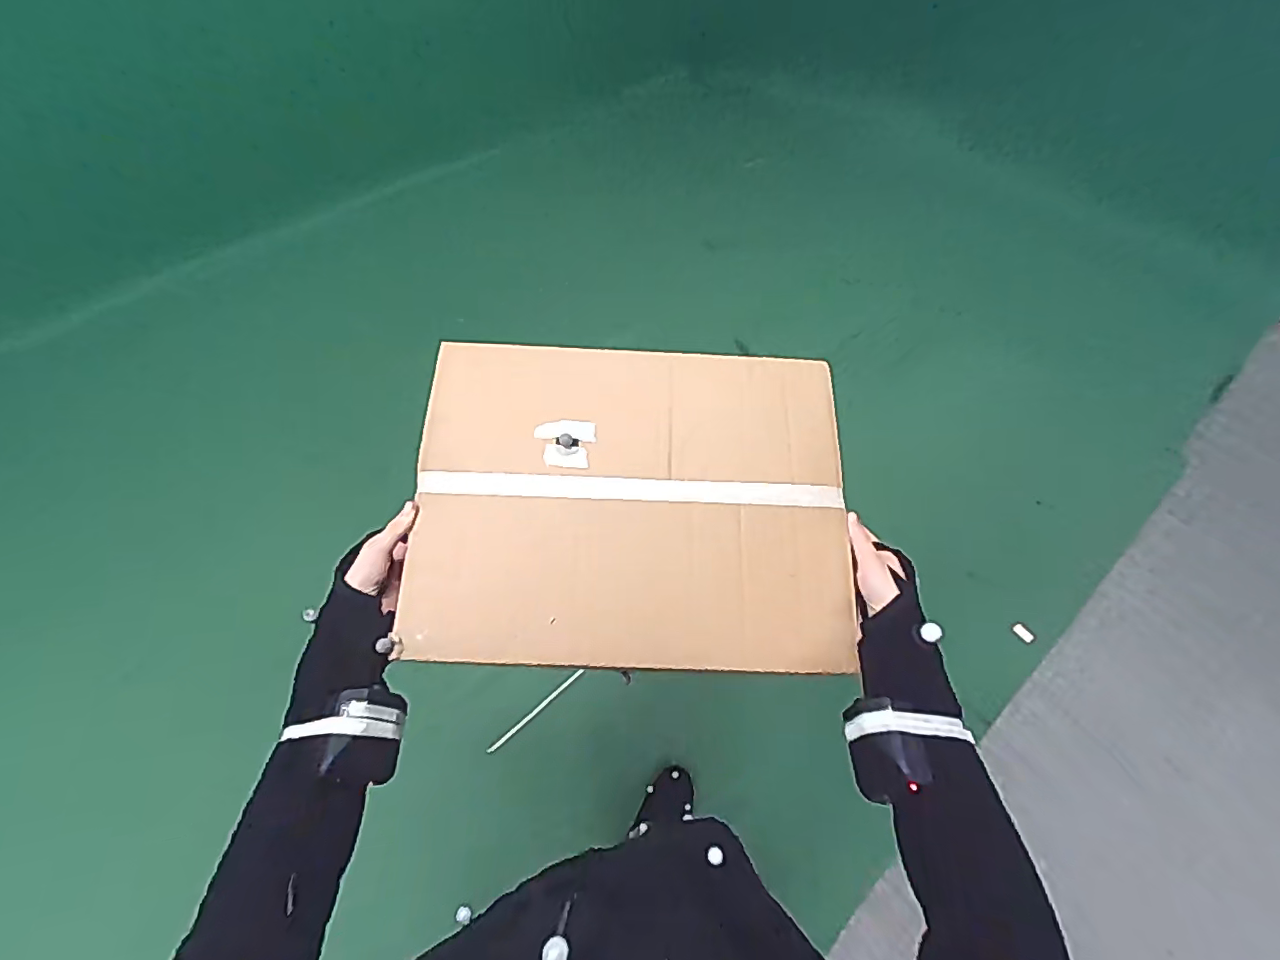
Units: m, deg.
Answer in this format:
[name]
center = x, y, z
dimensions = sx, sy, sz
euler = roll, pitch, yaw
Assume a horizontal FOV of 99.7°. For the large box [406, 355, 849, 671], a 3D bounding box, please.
[large box]
center = -0.009, 0.065, 0.668
dimensions = 0.408, 0.320, 0.320
euler = 3, 70, -1
